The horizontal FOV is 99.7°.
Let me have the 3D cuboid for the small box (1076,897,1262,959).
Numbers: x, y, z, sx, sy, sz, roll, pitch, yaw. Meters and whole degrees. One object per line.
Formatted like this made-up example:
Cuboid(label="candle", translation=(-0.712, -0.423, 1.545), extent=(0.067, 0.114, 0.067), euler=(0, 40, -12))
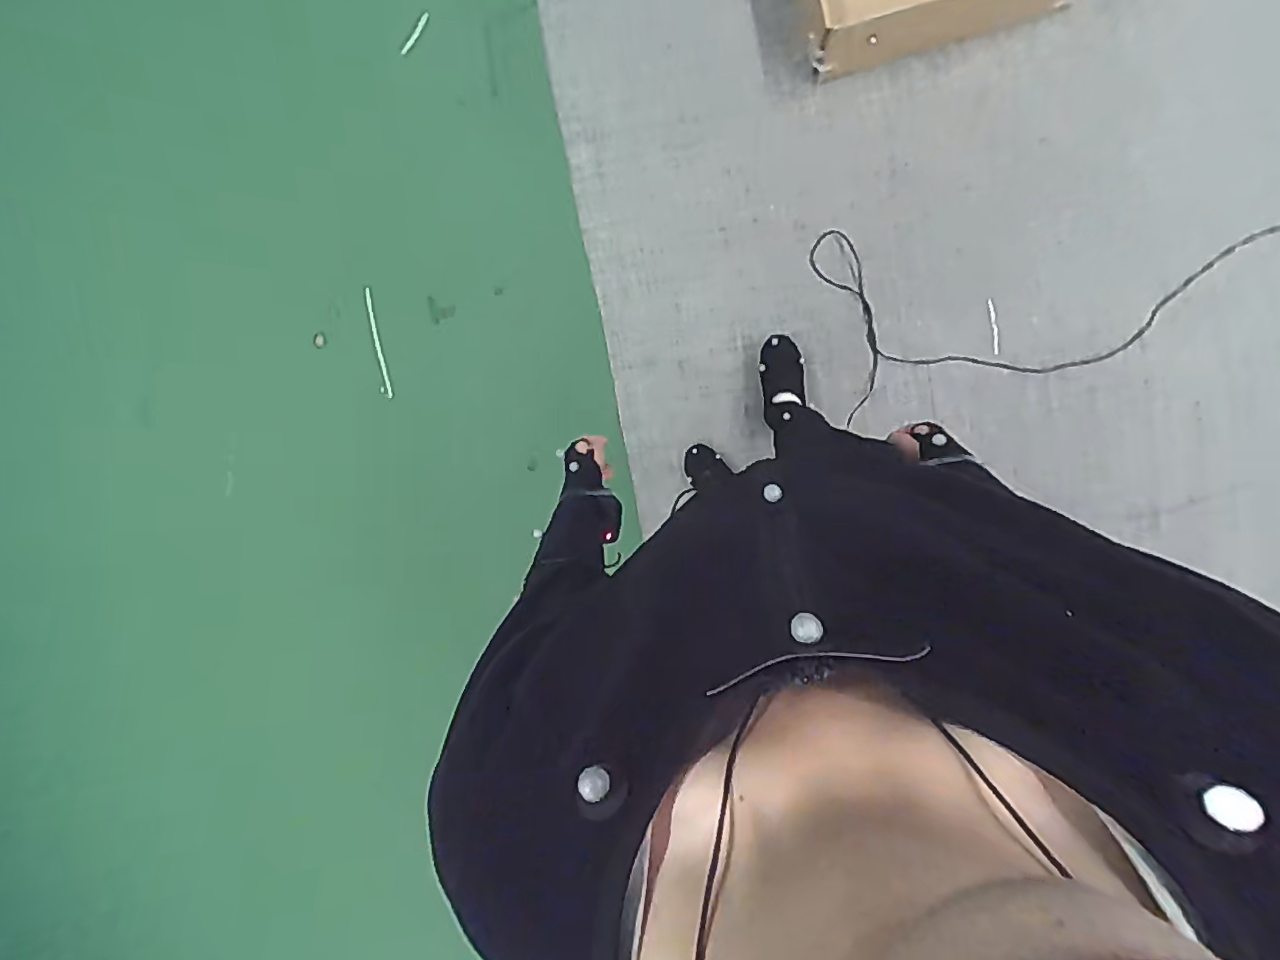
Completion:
Cuboid(label="small box", translation=(0.713, 0.686, 0.707), extent=(0.168, 0.176, 0.179), euler=(-10, 97, 9))
